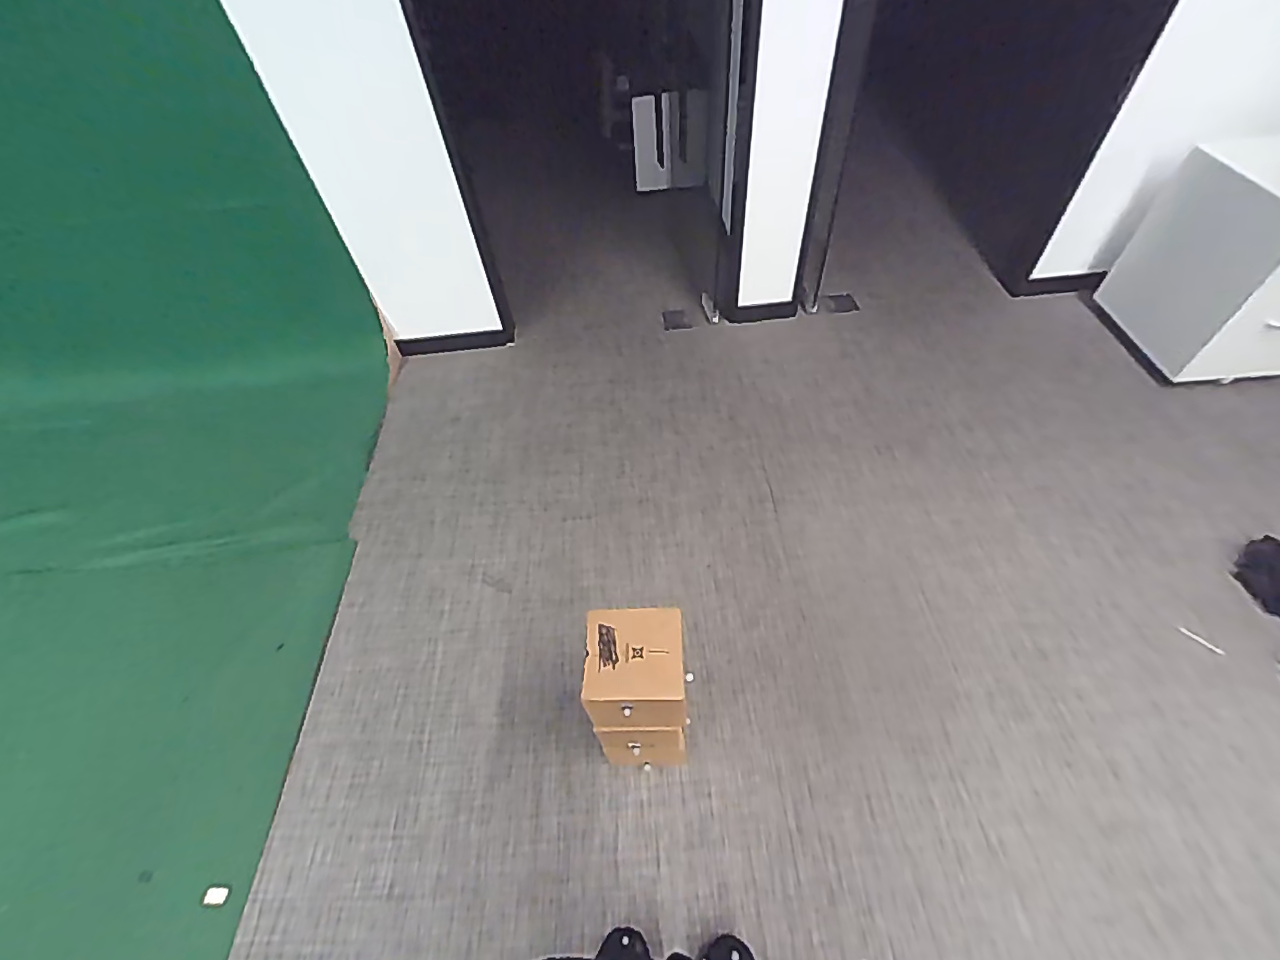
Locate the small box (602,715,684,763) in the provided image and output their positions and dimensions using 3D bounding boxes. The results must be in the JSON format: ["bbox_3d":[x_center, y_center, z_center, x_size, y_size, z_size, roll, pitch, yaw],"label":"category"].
[{"bbox_3d":[0.012,0.559,1.271,0.179,0.176,0.168,-1,51,4],"label":"small box"}]

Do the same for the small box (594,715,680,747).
[{"bbox_3d":[-0.001,0.453,1.148,0.168,0.176,0.179,-3,52,5],"label":"small box"}]

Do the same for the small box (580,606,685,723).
[{"bbox_3d":[-0.007,0.351,1.019,0.179,0.176,0.168,-2,52,4],"label":"small box"}]
